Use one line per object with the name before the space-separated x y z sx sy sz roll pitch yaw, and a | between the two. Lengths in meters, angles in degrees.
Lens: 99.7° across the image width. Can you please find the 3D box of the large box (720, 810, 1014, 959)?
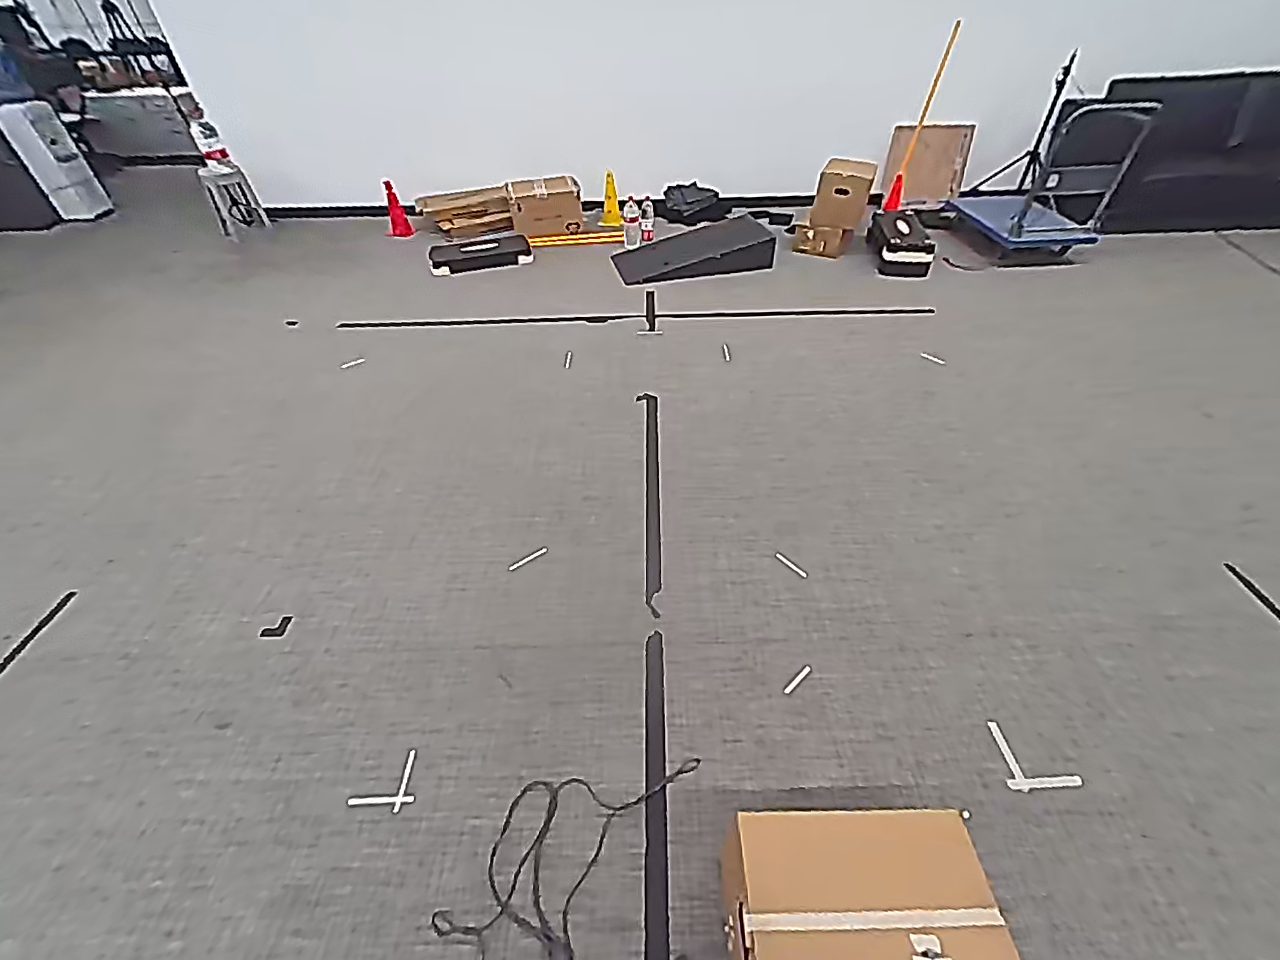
large box | 0.374 0.816 0.962 0.408 0.320 0.320 -1 43 -1
